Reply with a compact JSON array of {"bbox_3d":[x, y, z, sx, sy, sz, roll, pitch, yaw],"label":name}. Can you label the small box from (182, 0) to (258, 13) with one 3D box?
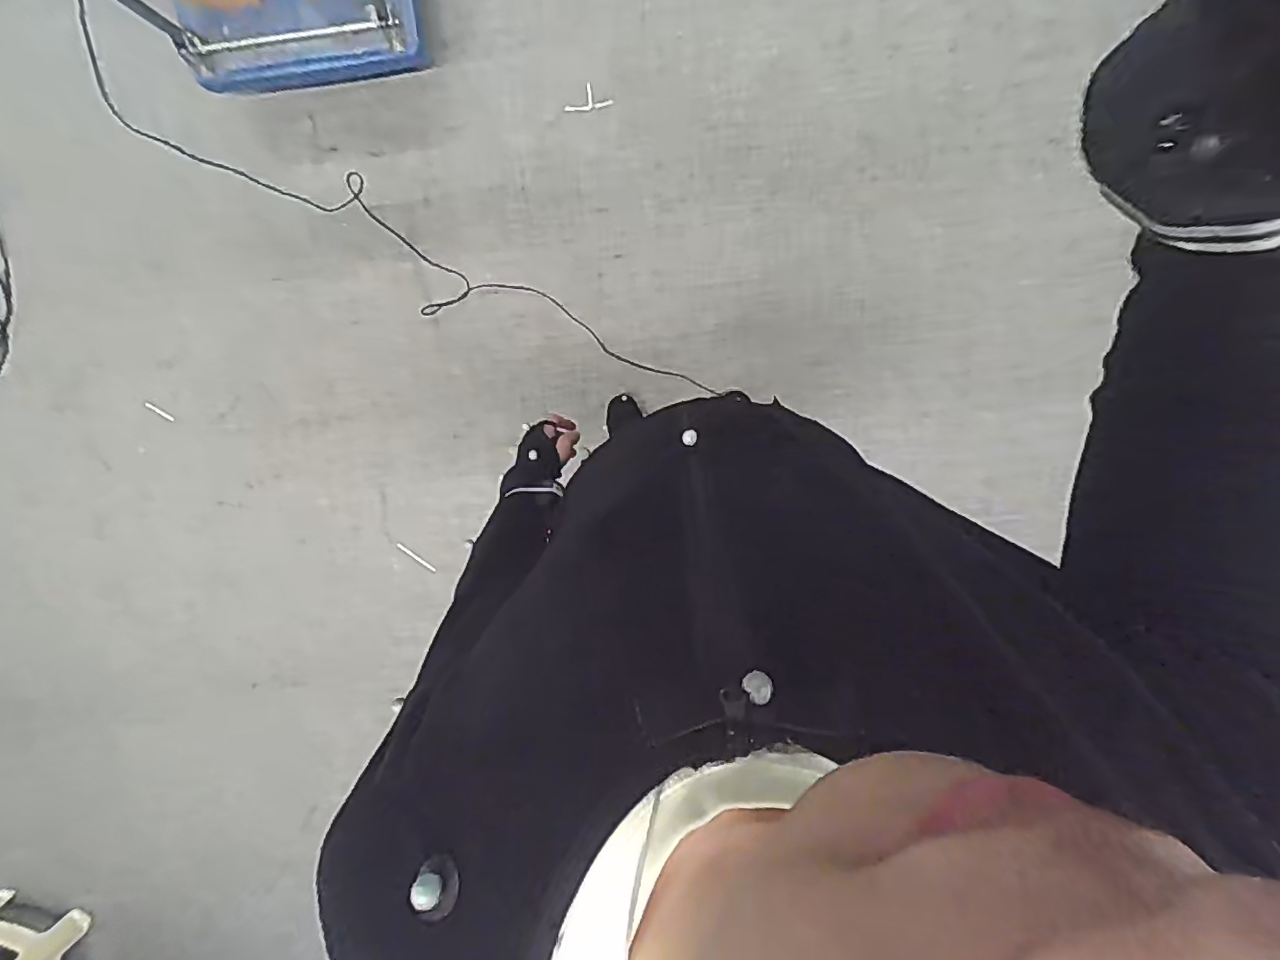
[{"bbox_3d":[-0.980,-1.183,1.195,0.179,0.176,0.168,-3,99,3],"label":"small box"}]
